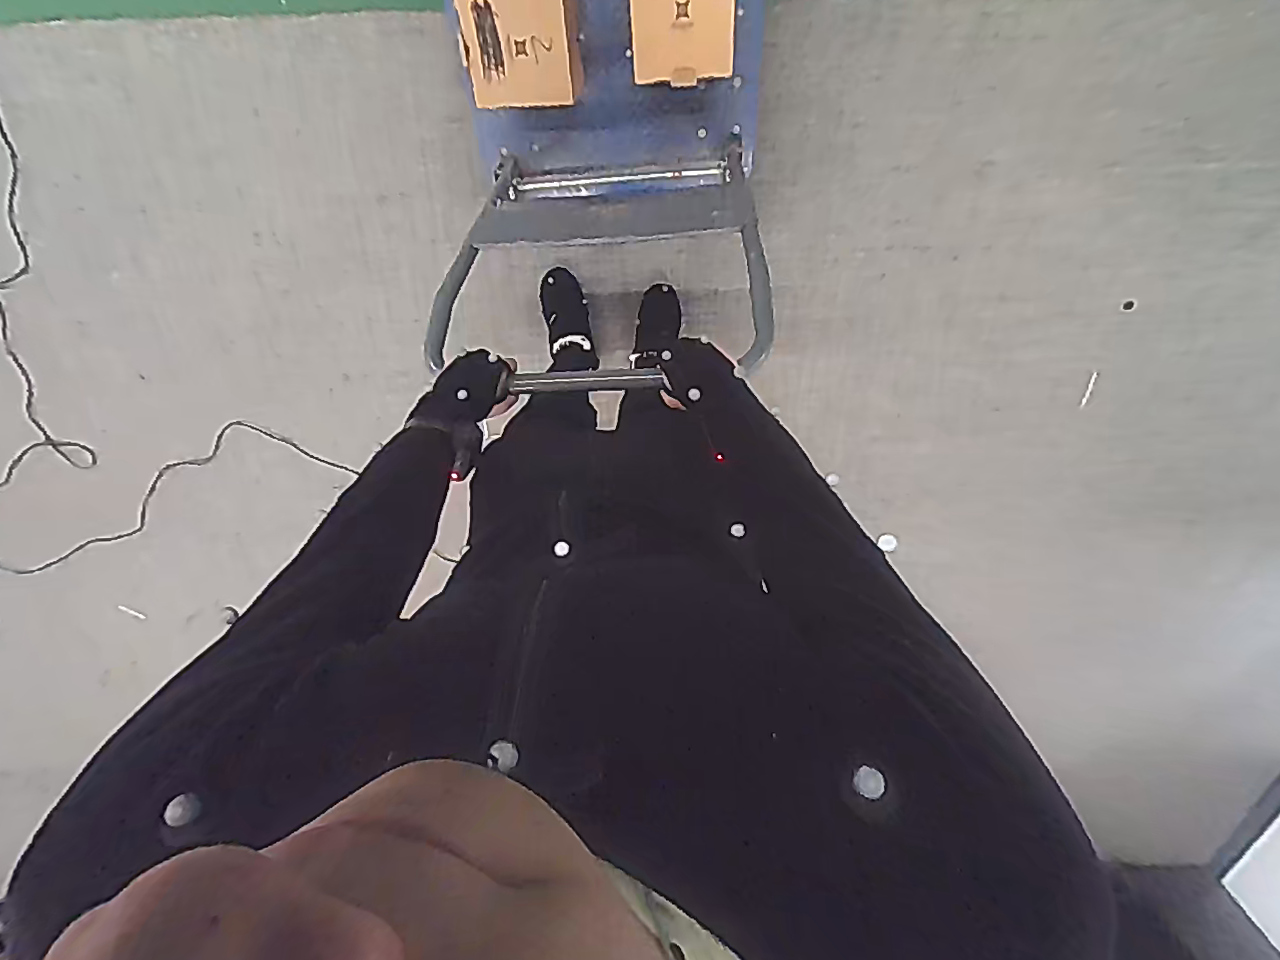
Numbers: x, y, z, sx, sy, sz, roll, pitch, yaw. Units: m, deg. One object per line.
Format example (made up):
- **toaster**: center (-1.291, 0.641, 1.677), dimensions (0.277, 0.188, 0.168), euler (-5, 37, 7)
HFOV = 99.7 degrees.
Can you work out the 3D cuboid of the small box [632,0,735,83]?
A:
- **small box**: center (0.070, -0.796, 0.909), dimensions (0.168, 0.176, 0.179), euler (-2, 136, 5)
